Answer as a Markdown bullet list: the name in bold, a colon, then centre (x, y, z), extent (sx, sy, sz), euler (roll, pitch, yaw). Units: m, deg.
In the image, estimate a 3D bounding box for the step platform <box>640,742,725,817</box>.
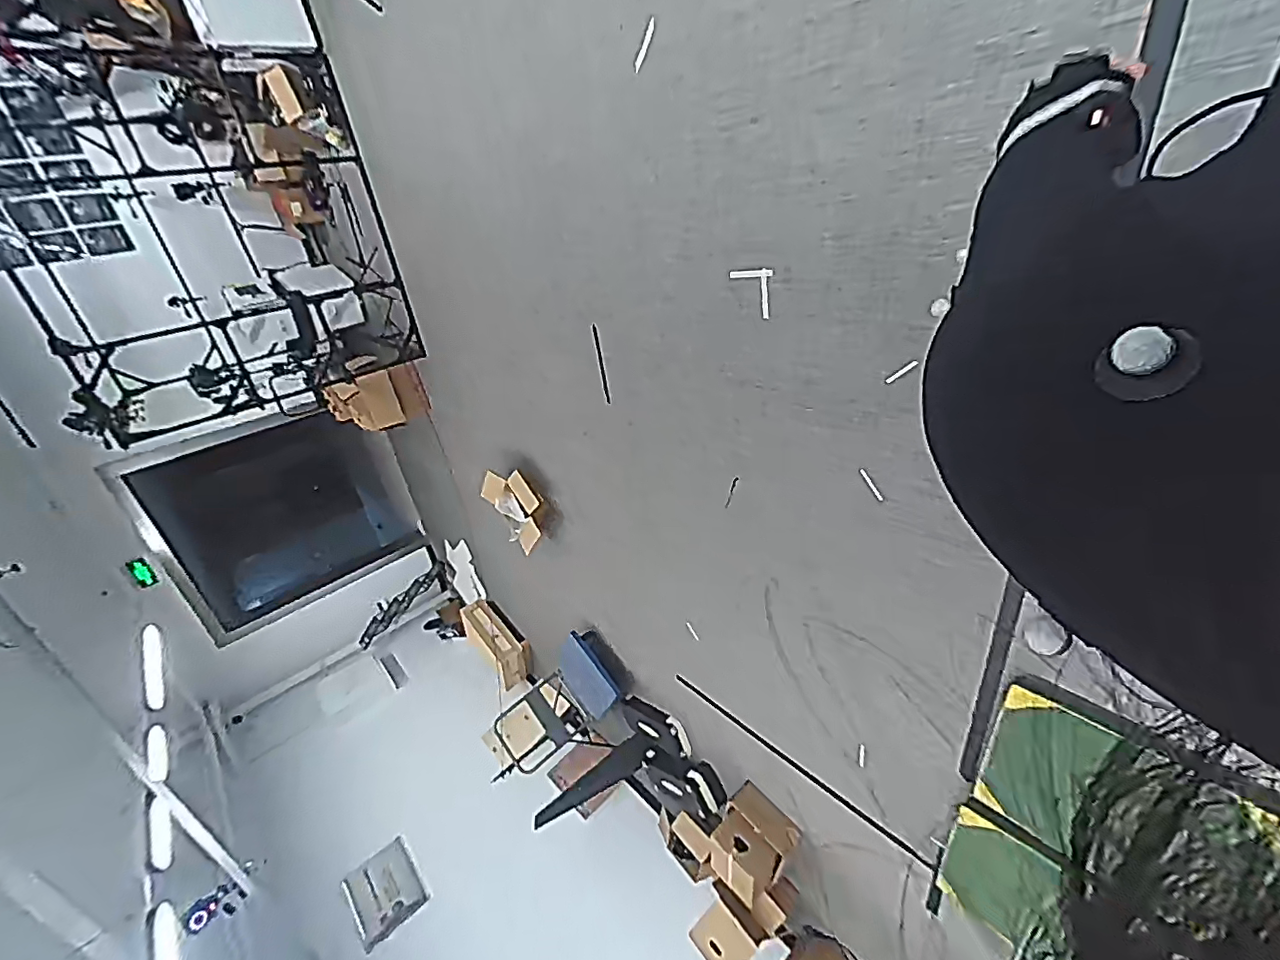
- **step platform**: centre (0.274, 2.094, 3.793), extent (0.684, 0.204, 0.286), euler (-19, 98, 56)
